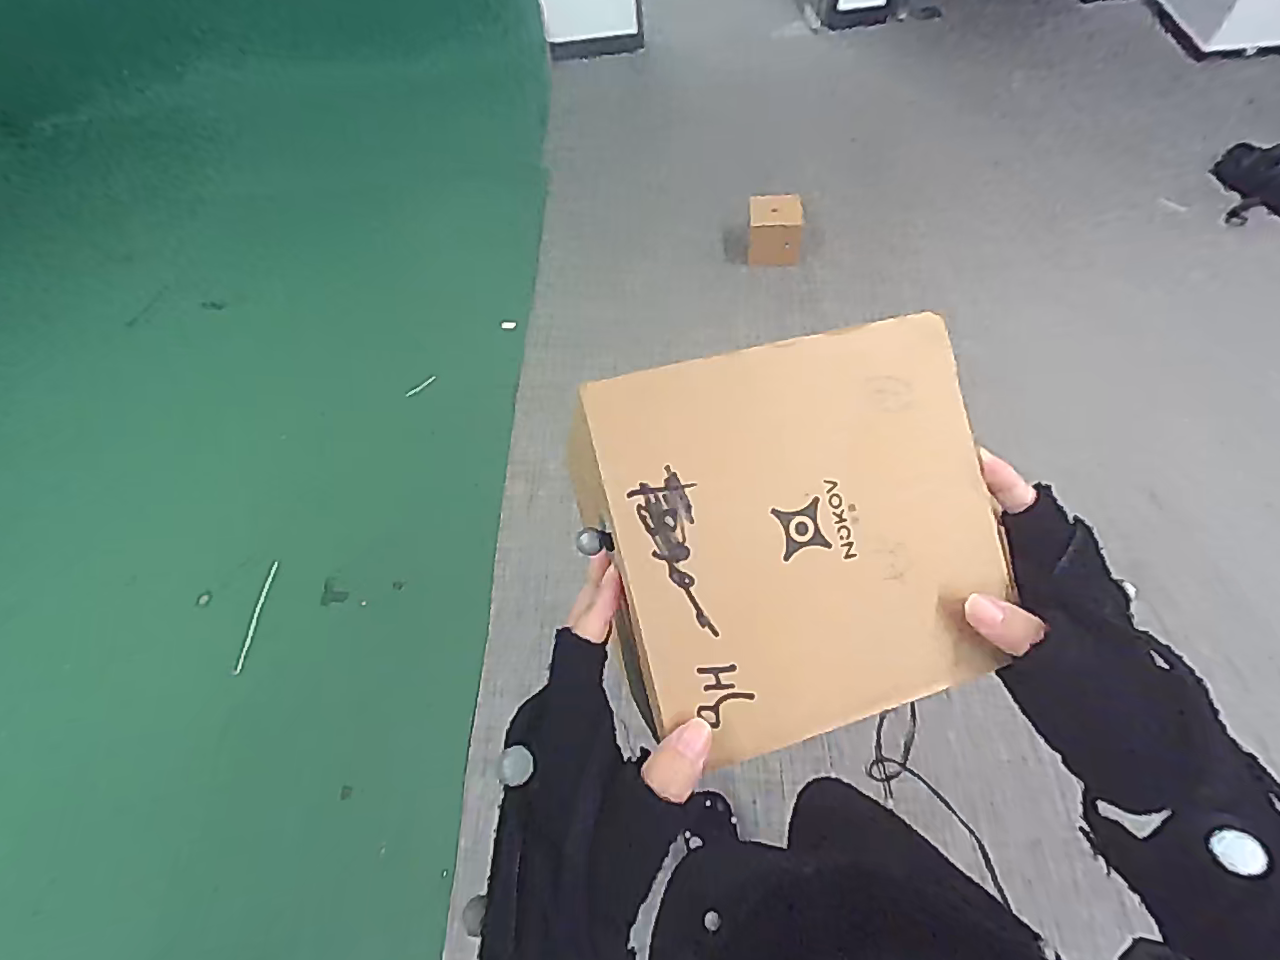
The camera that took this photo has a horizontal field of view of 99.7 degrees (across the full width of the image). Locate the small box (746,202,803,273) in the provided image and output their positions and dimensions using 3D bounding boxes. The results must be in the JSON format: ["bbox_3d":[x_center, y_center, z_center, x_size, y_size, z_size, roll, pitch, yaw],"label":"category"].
[{"bbox_3d":[0.476,-0.865,1.935,0.179,0.176,0.168,0,60,7],"label":"small box"}]

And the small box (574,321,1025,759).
[{"bbox_3d":[0.066,0.026,0.319,0.179,0.176,0.168,-12,85,-12],"label":"small box"}]
